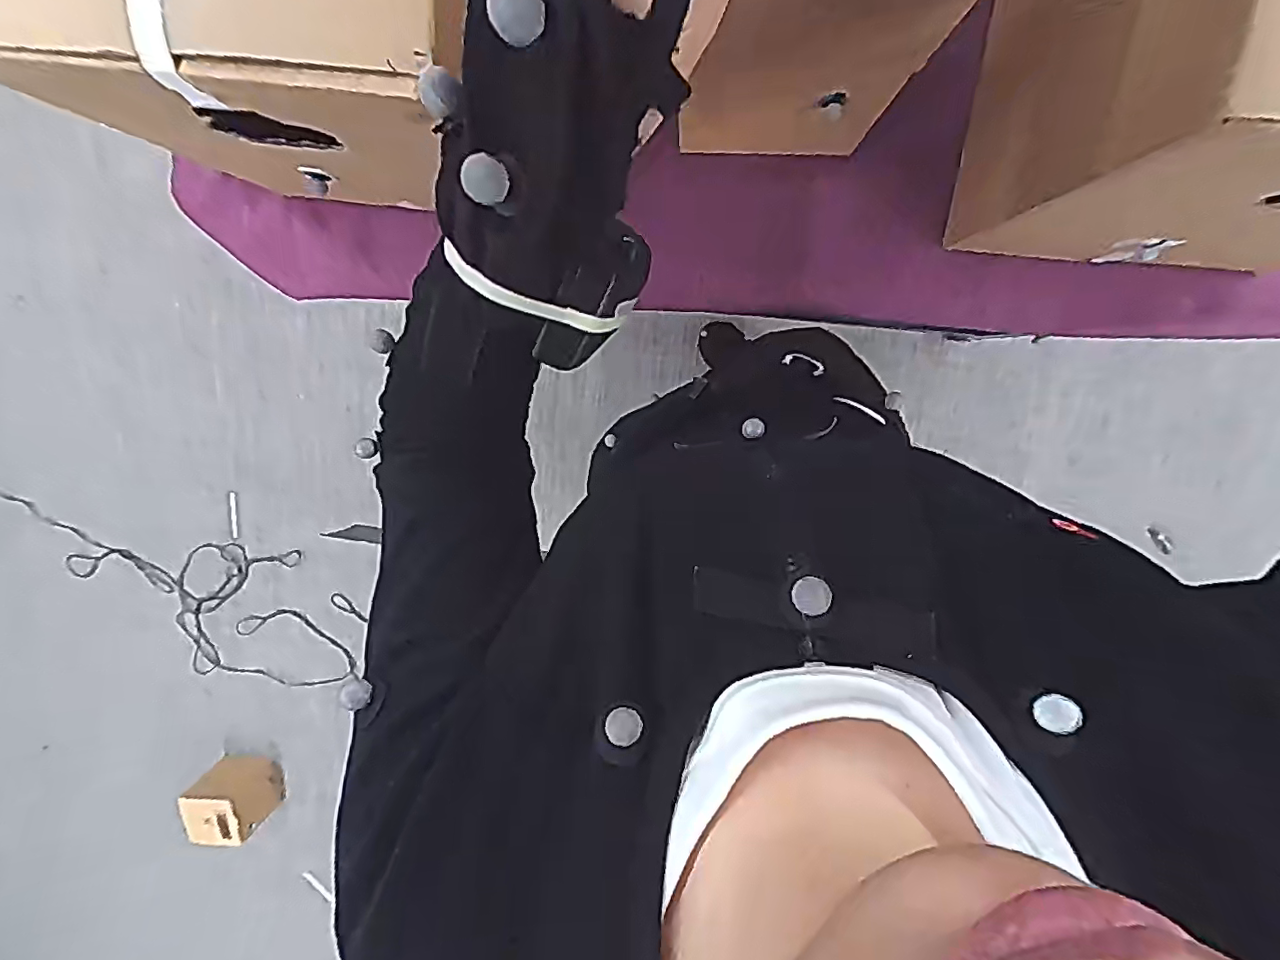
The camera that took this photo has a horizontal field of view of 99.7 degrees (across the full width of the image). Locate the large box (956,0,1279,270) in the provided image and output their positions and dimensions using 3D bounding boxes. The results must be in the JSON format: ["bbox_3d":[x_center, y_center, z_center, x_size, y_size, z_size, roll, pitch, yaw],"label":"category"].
[{"bbox_3d":[0.461,-0.376,0.348,0.320,0.320,0.408,6,102,4],"label":"large box"}]
